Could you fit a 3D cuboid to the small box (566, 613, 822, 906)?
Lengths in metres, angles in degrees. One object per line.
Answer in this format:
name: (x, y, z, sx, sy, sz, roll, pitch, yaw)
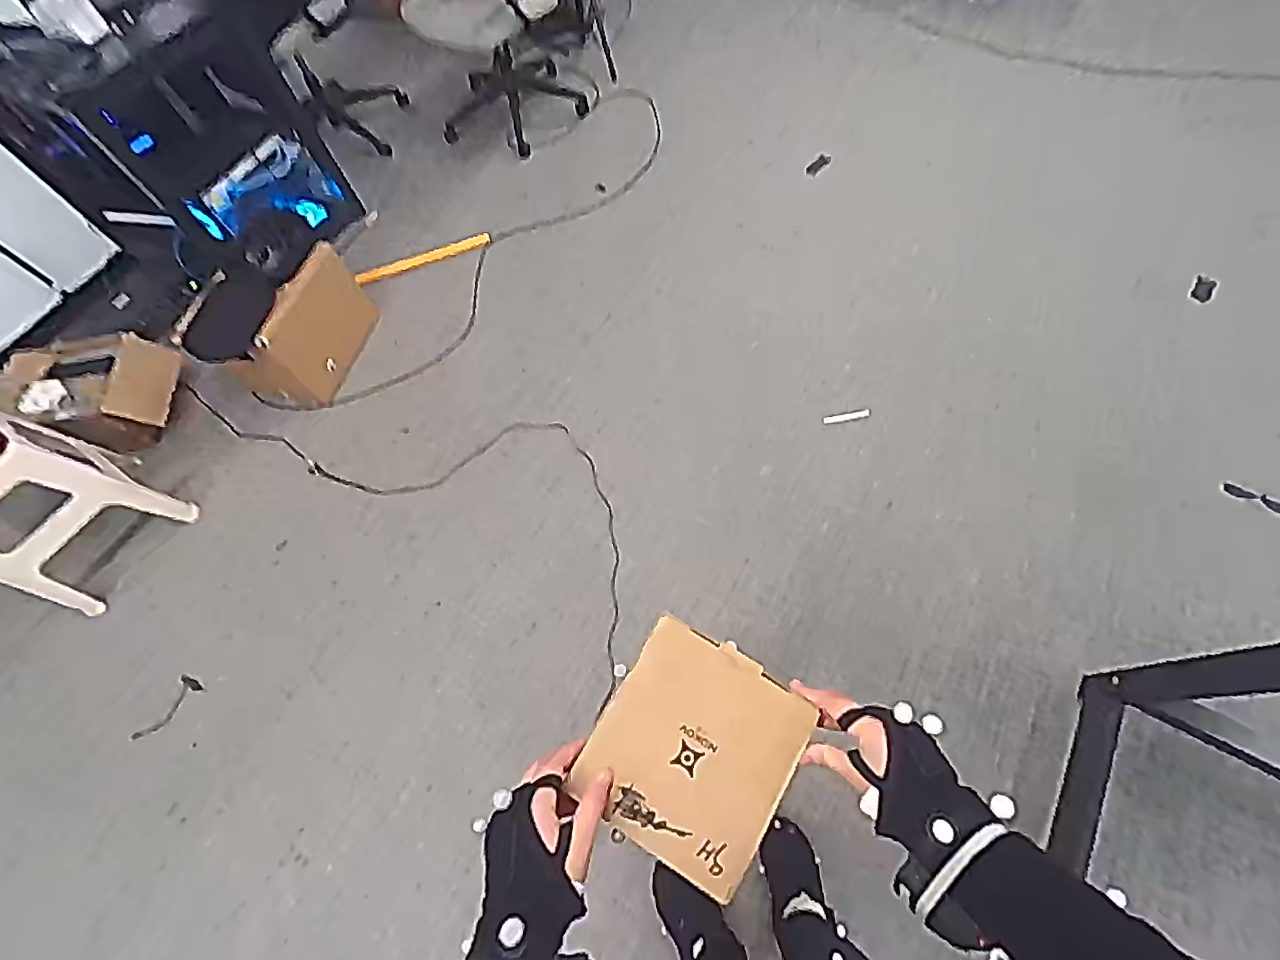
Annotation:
small box: (0.048, 0.255, 0.542, 0.168, 0.176, 0.179, 30, 76, 10)
